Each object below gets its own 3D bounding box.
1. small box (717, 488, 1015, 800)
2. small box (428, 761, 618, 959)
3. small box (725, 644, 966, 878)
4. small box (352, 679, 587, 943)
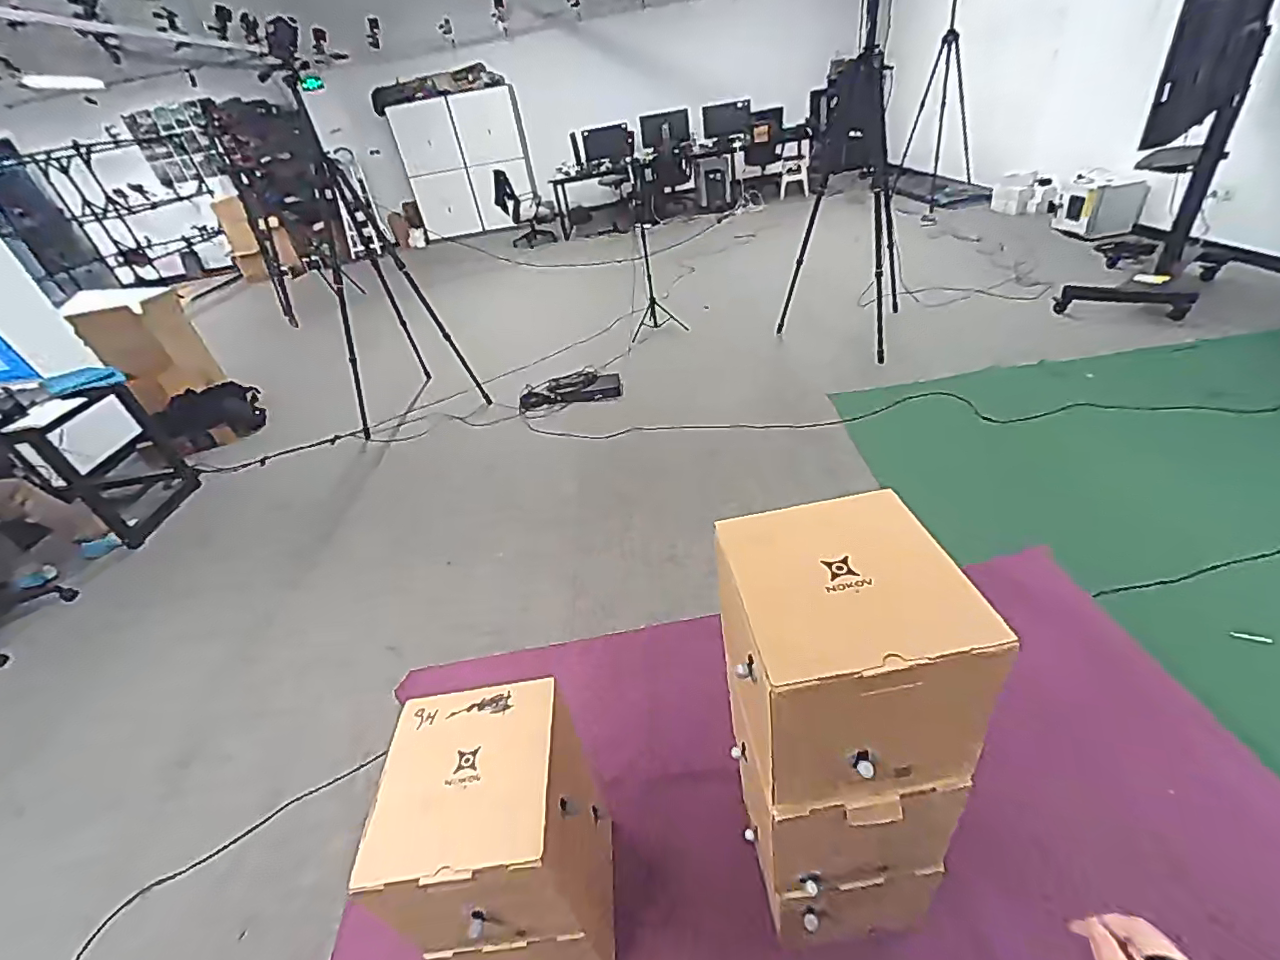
[{"bbox_3d":[0.167,0.135,0.464,0.168,0.176,0.179,-11,35,0],"label":"small box"},{"bbox_3d":[-0.123,0.472,0.642,0.168,0.176,0.179,-11,35,2],"label":"small box"},{"bbox_3d":[0.191,0.271,0.549,0.168,0.176,0.179,-11,34,0],"label":"small box"},{"bbox_3d":[-0.150,0.337,0.551,0.168,0.176,0.179,-10,35,1],"label":"small box"}]
